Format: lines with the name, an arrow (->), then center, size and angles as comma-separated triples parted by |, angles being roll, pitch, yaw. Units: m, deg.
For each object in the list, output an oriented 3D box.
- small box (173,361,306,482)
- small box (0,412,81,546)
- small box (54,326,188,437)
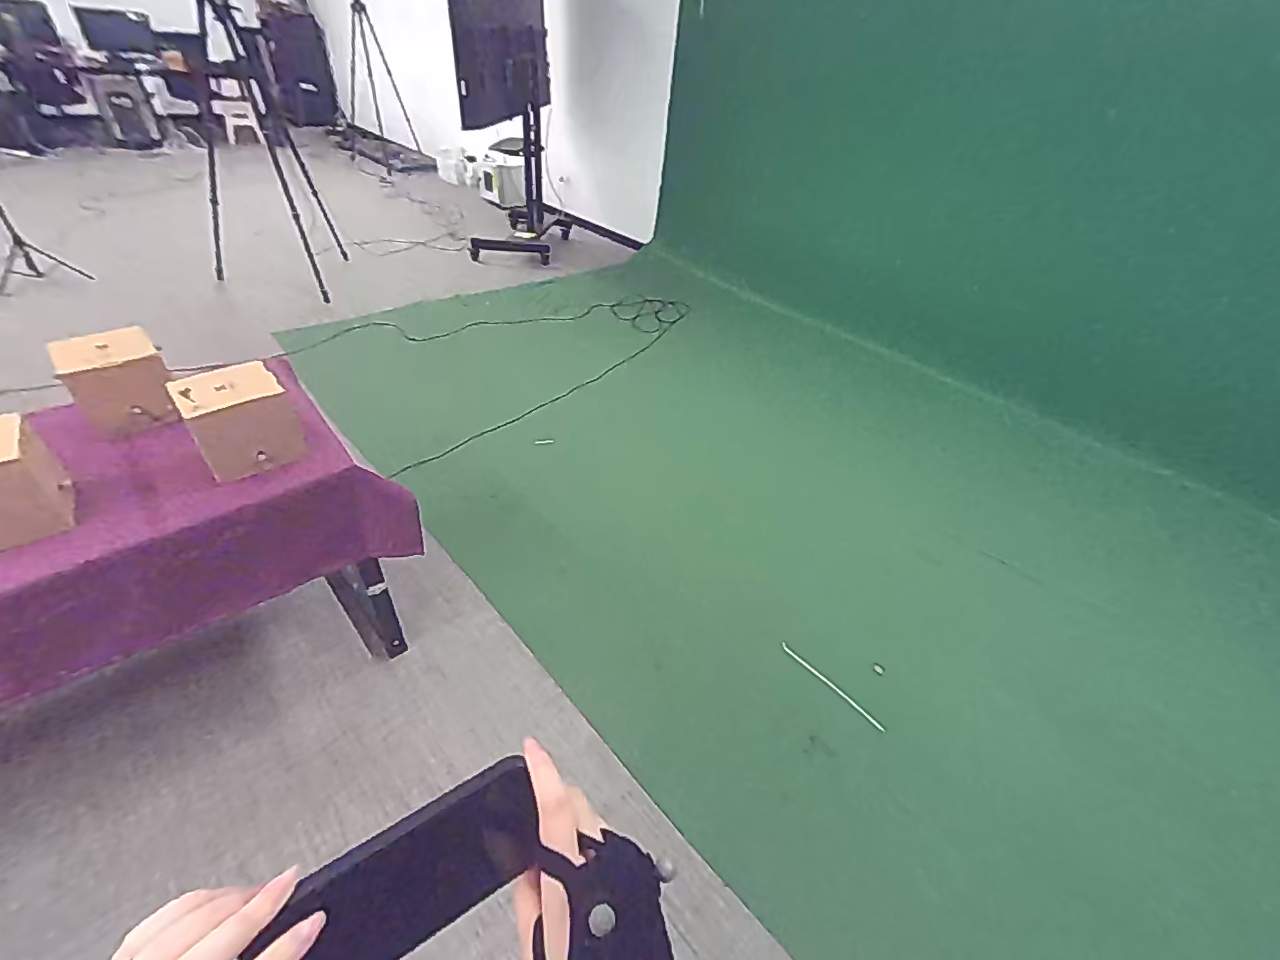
small box -> -0.842, -0.126, 1.155 | 0.179, 0.176, 0.168 | -28, 50, -35
small box -> -1.145, 0.010, 0.949 | 0.179, 0.176, 0.168 | -24, 48, -33
small box -> -1.165, -0.225, 1.228 | 0.168, 0.176, 0.179 | -30, 52, -35
